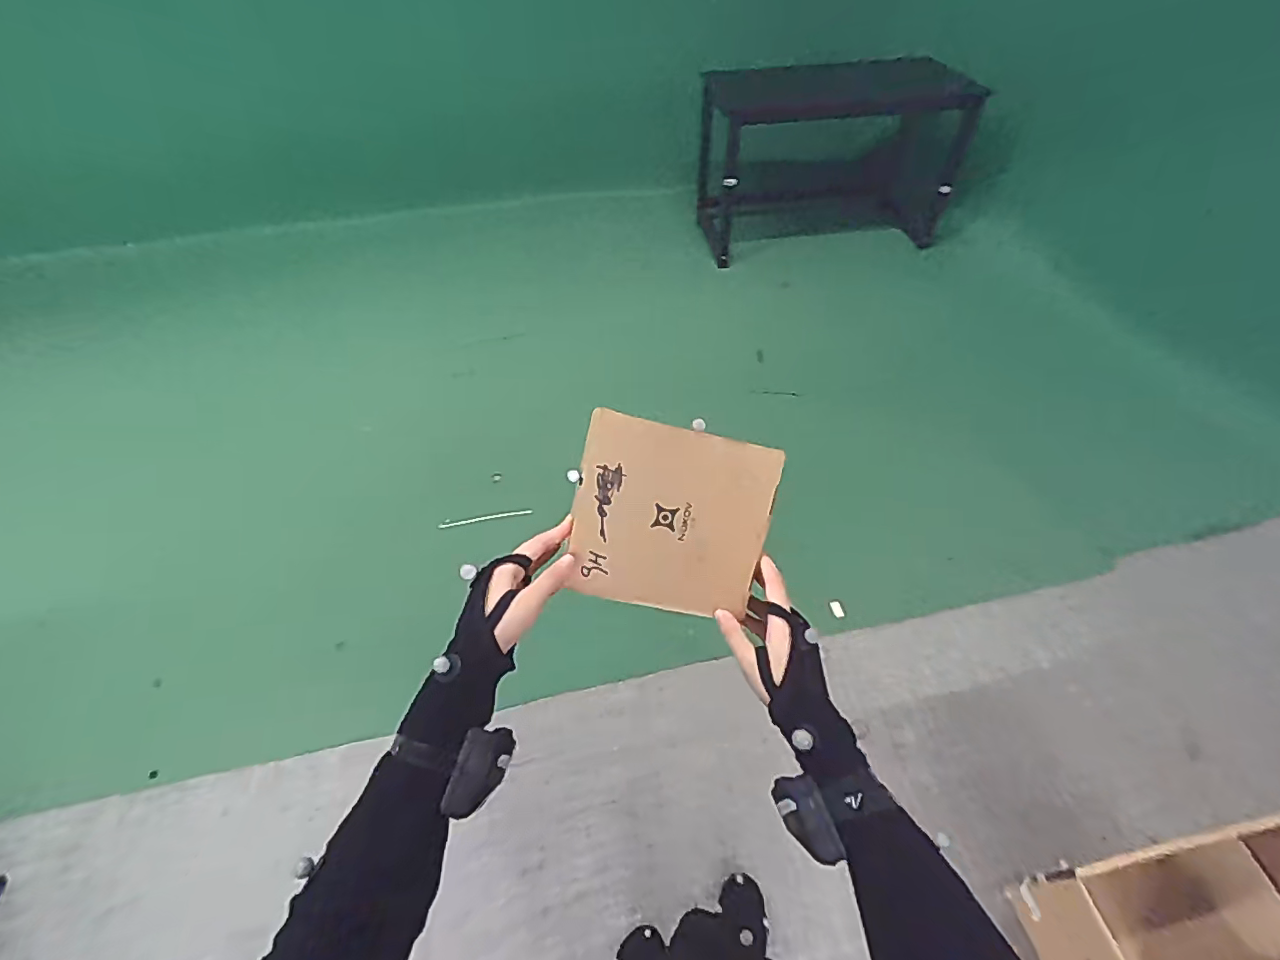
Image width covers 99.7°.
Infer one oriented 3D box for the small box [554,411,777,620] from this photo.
[{"bbox_3d":[0.014,0.027,0.563,0.179,0.176,0.168,12,94,-9],"label":"small box"}]
